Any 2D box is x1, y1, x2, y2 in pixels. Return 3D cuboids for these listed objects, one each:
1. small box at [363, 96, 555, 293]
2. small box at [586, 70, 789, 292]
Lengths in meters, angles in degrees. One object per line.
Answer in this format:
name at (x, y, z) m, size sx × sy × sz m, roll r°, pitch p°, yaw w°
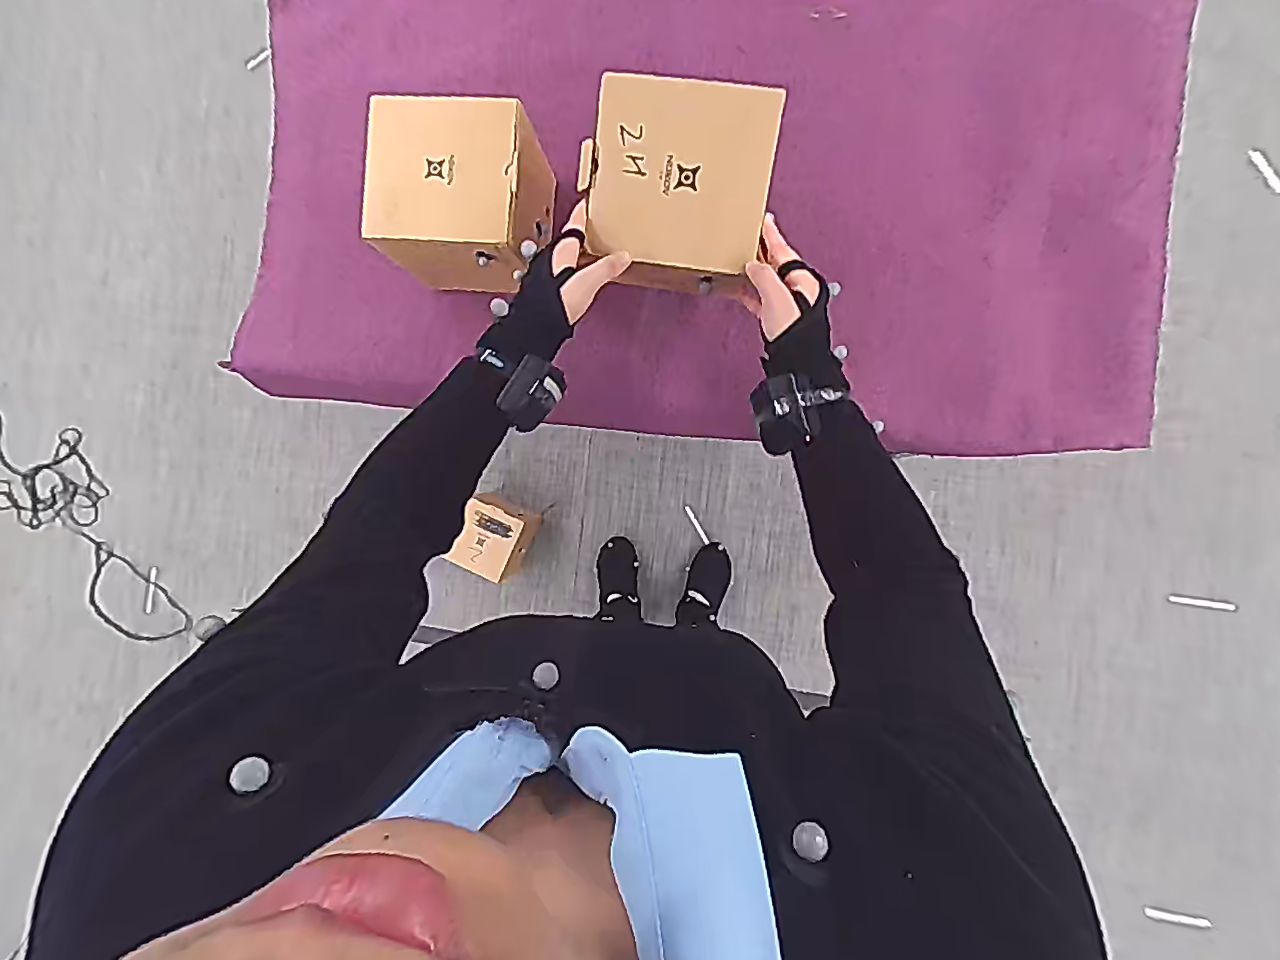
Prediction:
small box at (-0.218, -0.349, 0.688) m, size 0.179 × 0.176 × 0.168 m, roll 4°, pitch 90°, yaw 4°
small box at (0.051, -0.311, 0.599) m, size 0.179 × 0.176 × 0.168 m, roll 9°, pitch 101°, yaw 6°
